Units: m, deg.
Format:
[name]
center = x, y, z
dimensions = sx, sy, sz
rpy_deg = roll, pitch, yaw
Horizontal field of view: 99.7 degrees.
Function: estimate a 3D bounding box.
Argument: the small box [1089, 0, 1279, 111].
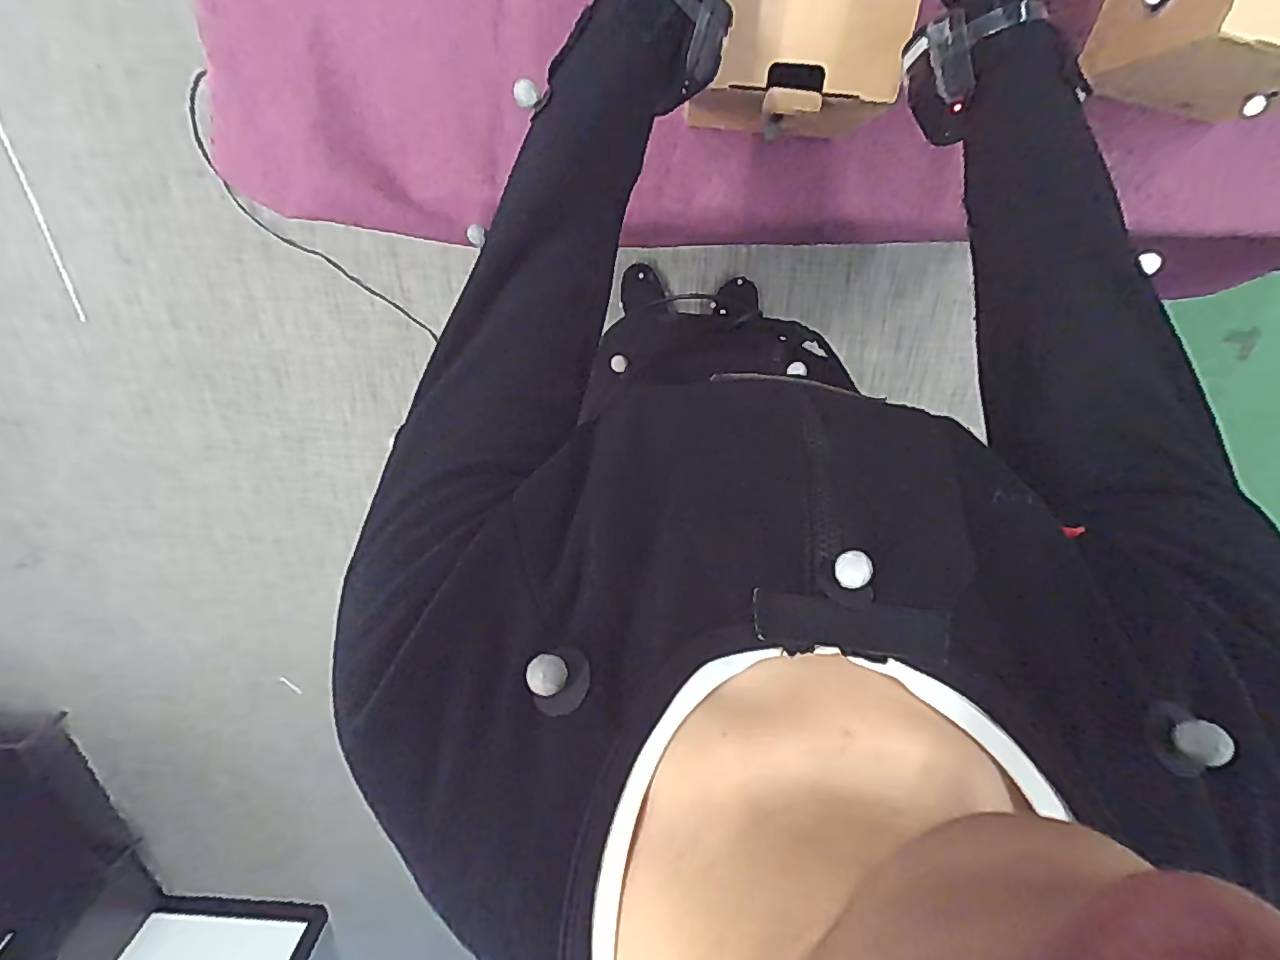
[small box]
center = 0.518, -0.421, 0.430
dimensions = 0.168, 0.176, 0.179
rpy_deg = 12, 115, -2
